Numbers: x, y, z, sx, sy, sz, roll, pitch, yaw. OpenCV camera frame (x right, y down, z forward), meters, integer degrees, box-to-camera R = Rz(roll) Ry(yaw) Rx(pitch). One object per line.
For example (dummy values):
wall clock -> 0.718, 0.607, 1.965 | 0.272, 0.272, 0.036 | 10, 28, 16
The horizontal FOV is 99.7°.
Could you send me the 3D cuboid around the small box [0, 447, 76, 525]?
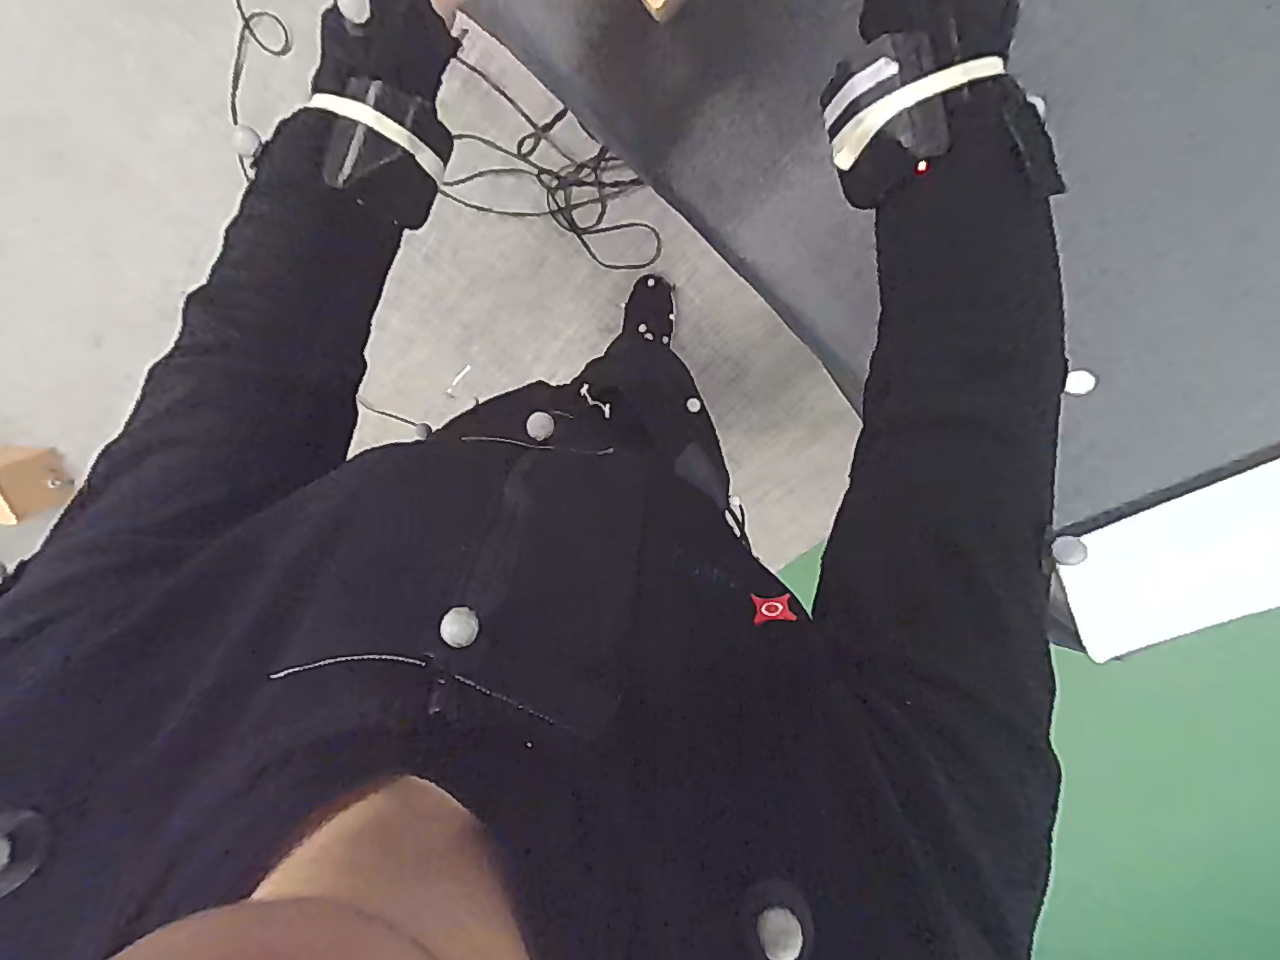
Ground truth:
small box -> -1.794, 0.012, 1.536 | 0.179, 0.176, 0.168 | 1, 118, 4
